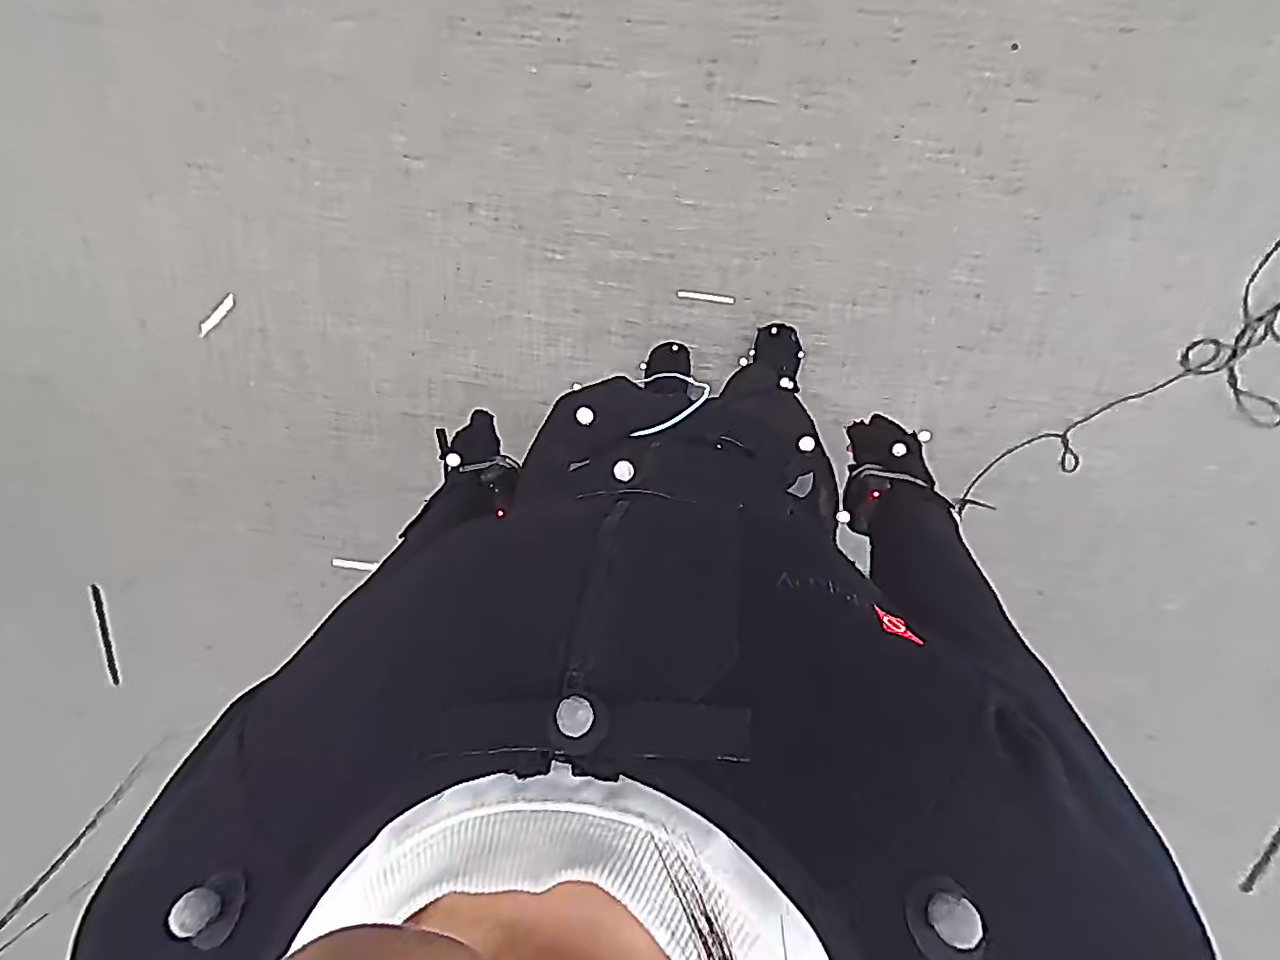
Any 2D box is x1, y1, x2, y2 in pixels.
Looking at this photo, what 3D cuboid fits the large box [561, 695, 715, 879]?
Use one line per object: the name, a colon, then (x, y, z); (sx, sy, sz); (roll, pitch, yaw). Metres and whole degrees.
large box: (0.006, 0.866, 1.564); (0.408, 0.320, 0.320); (5, 105, 7)
